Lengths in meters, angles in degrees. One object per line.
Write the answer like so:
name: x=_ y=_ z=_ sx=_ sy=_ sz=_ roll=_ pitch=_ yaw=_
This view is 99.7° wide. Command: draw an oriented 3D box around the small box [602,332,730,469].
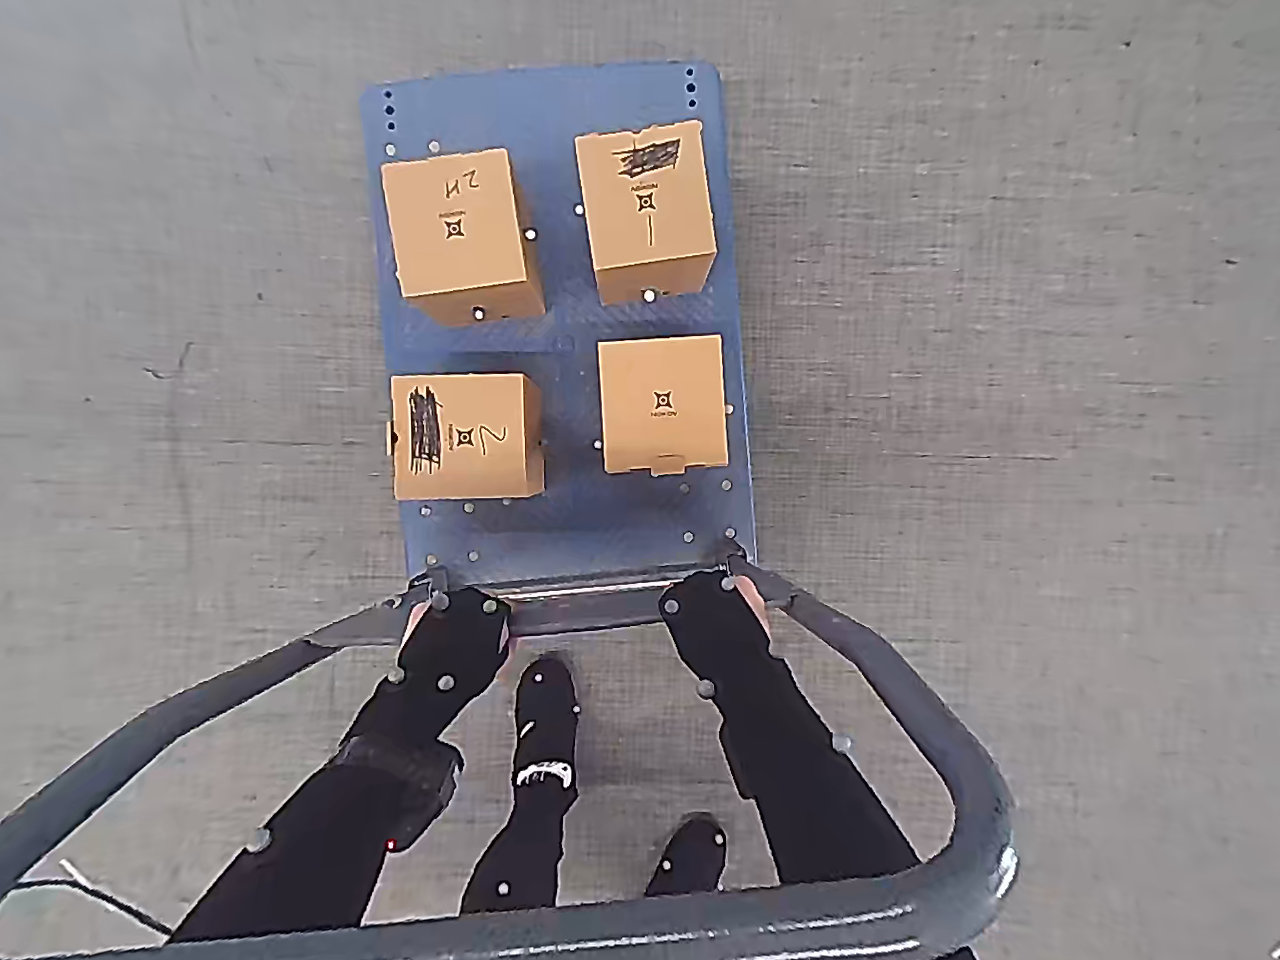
small box: x=0.032 y=-0.107 z=0.793 sx=0.168 sy=0.176 sz=0.179 roll=-4 pitch=93 yaw=-1

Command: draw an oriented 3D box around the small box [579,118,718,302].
small box: x=0.009 y=-0.376 z=0.781 sx=0.168 sy=0.176 sz=0.179 roll=-8 pitch=93 yaw=0

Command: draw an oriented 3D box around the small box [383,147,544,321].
small box: x=-0.240 y=-0.337 z=0.779 sx=0.168 sy=0.176 sz=0.179 roll=-8 pitch=92 yaw=-1
